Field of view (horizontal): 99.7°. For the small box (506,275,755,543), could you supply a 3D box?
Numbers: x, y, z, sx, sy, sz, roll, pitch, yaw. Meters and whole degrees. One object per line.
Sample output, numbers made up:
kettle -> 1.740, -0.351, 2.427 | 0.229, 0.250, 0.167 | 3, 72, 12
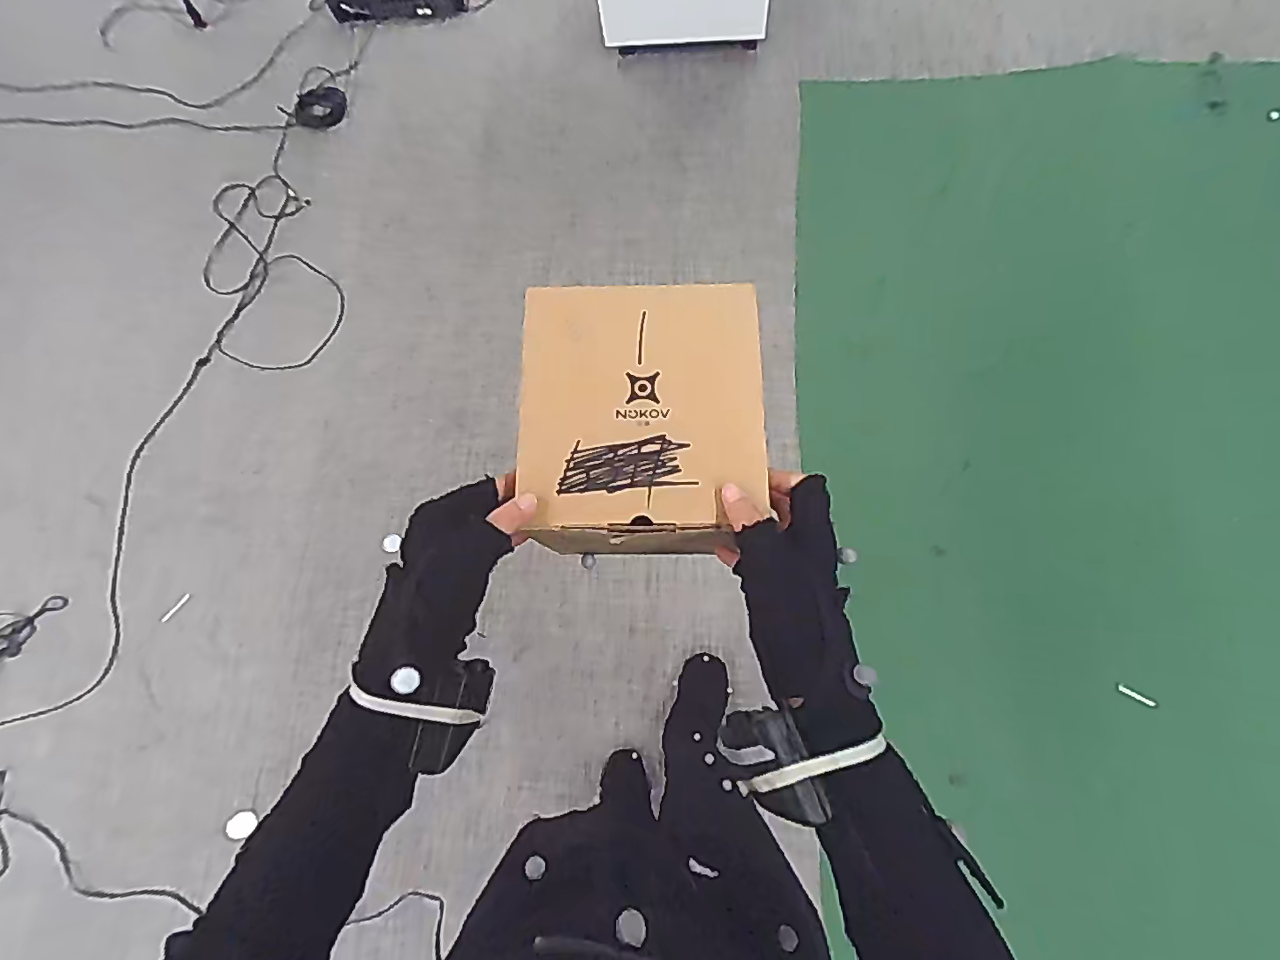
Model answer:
small box -> -0.002, -0.042, 0.443 | 0.168, 0.176, 0.179 | 0, 76, 2
